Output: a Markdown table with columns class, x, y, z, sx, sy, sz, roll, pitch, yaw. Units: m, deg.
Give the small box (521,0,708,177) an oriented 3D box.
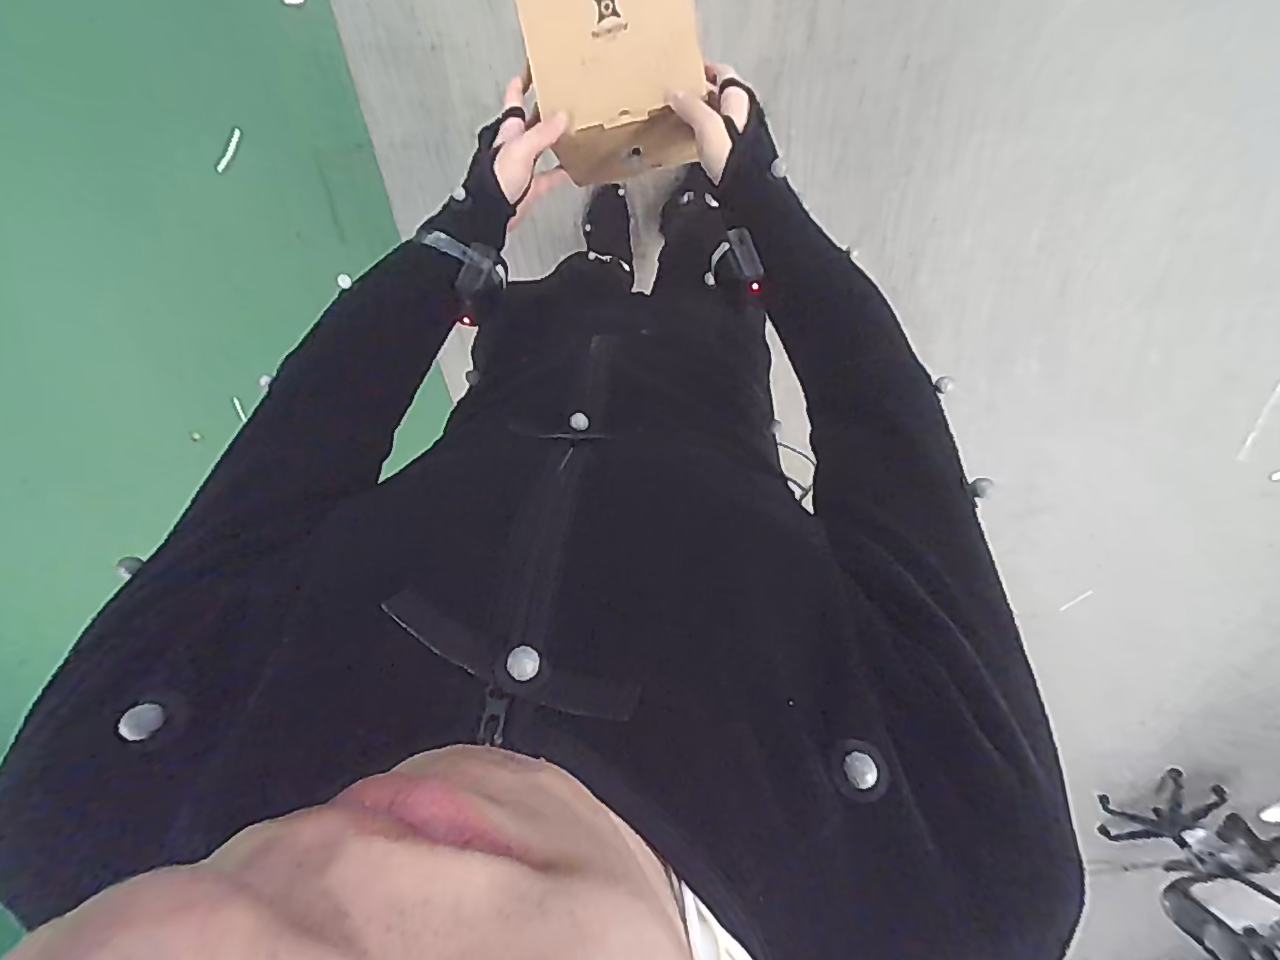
| class | x | y | z | sx | sy | sz | roll | pitch | yaw |
| --- | --- | --- | --- | --- | --- | --- | --- | --- | --- |
| small box | -0.019 | -0.452 | 0.587 | 0.168 | 0.176 | 0.179 | -9 | 104 | 7 |
